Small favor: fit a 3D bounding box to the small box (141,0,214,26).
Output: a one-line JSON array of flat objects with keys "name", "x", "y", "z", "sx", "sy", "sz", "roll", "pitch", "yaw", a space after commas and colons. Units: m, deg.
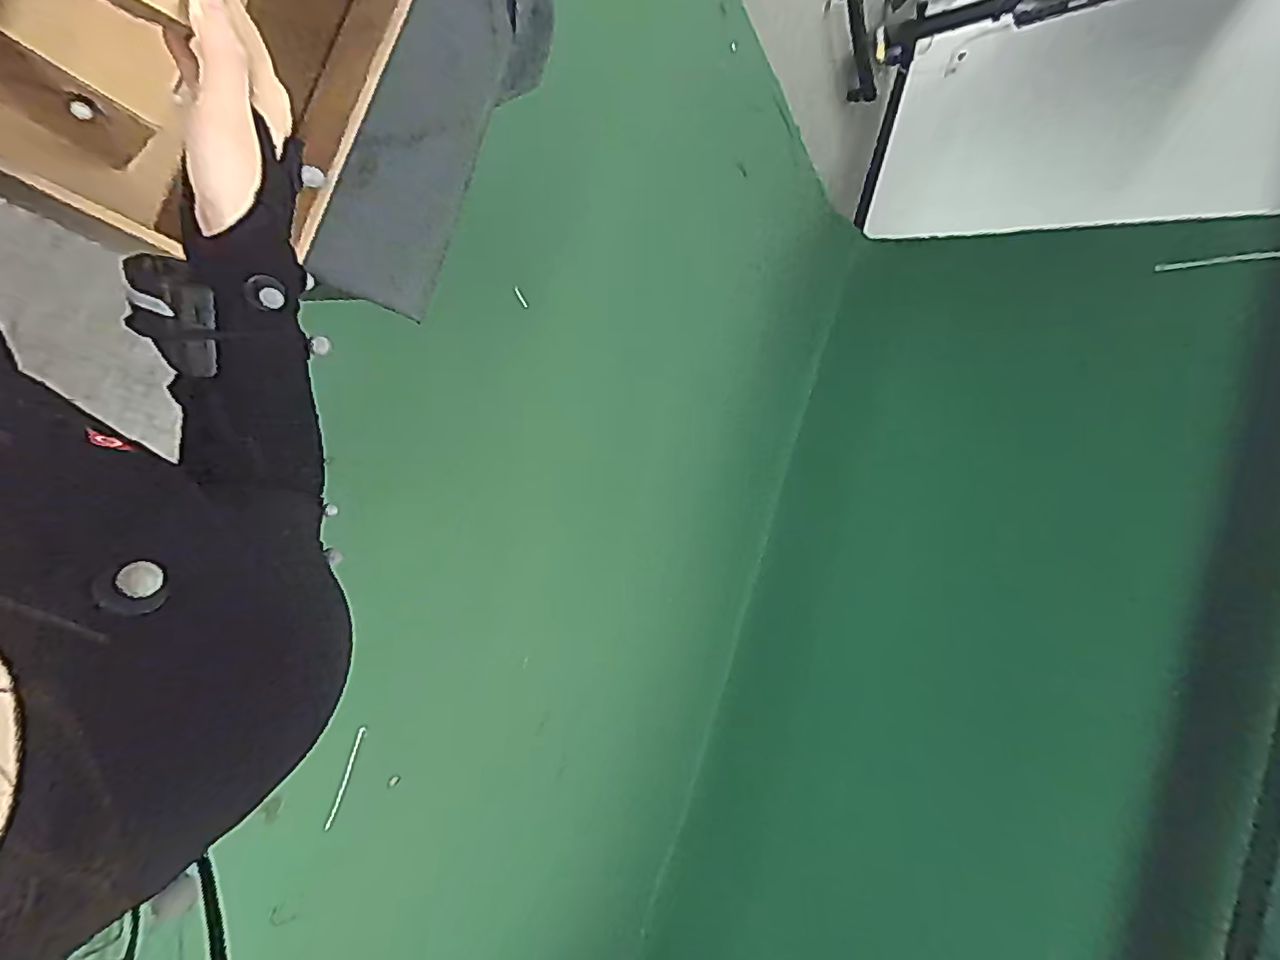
[{"name": "small box", "x": -0.290, "y": -0.341, "z": 0.223, "sx": 0.179, "sy": 0.176, "sz": 0.168, "roll": 1, "pitch": 122, "yaw": -56}]
